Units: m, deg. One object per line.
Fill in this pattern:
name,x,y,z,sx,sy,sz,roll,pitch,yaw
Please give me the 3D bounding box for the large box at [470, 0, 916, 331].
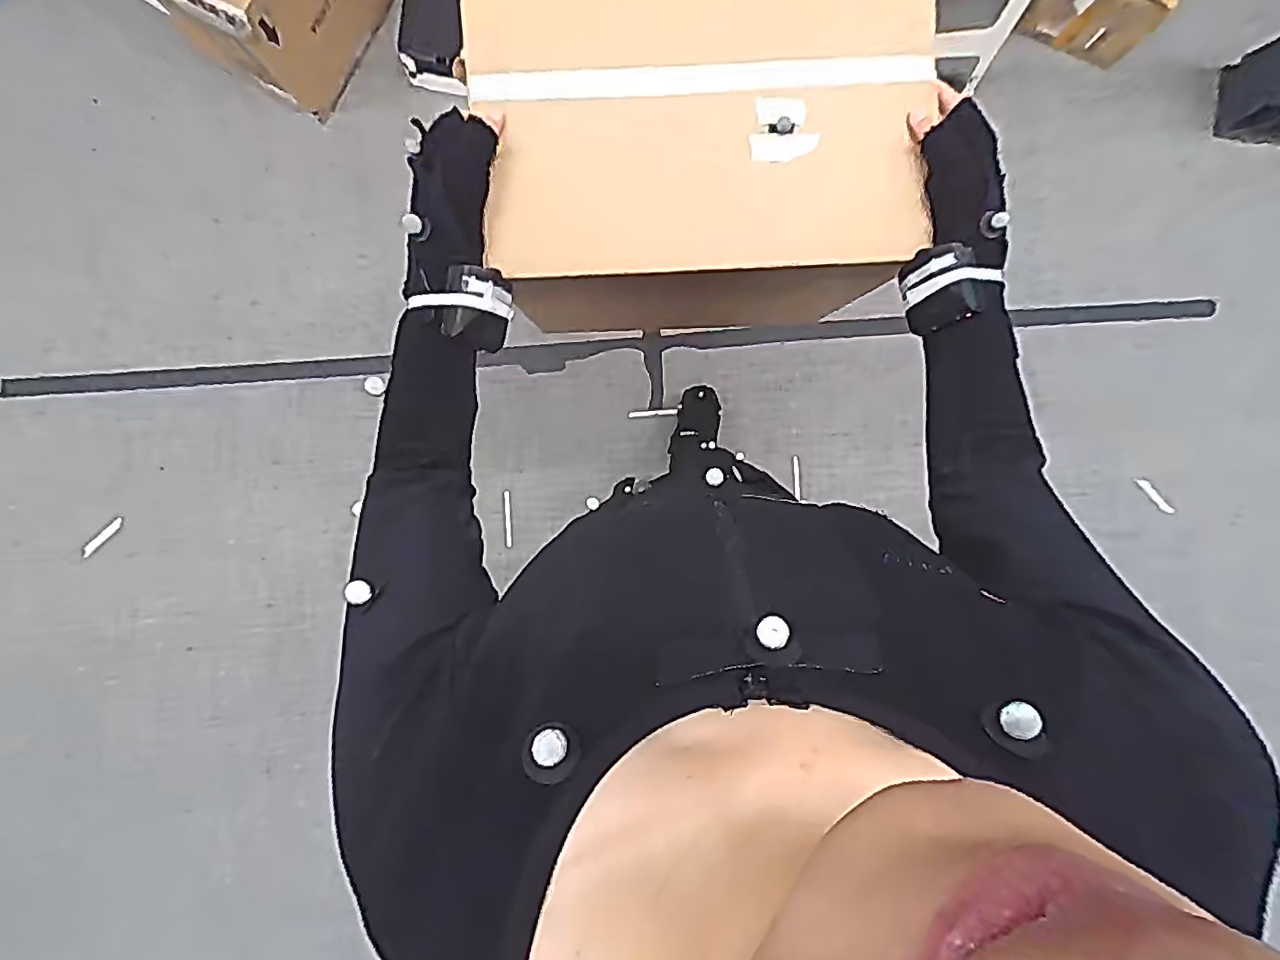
large box,0.047,-0.369,0.638,0.408,0.320,0.320,-3,97,-1
